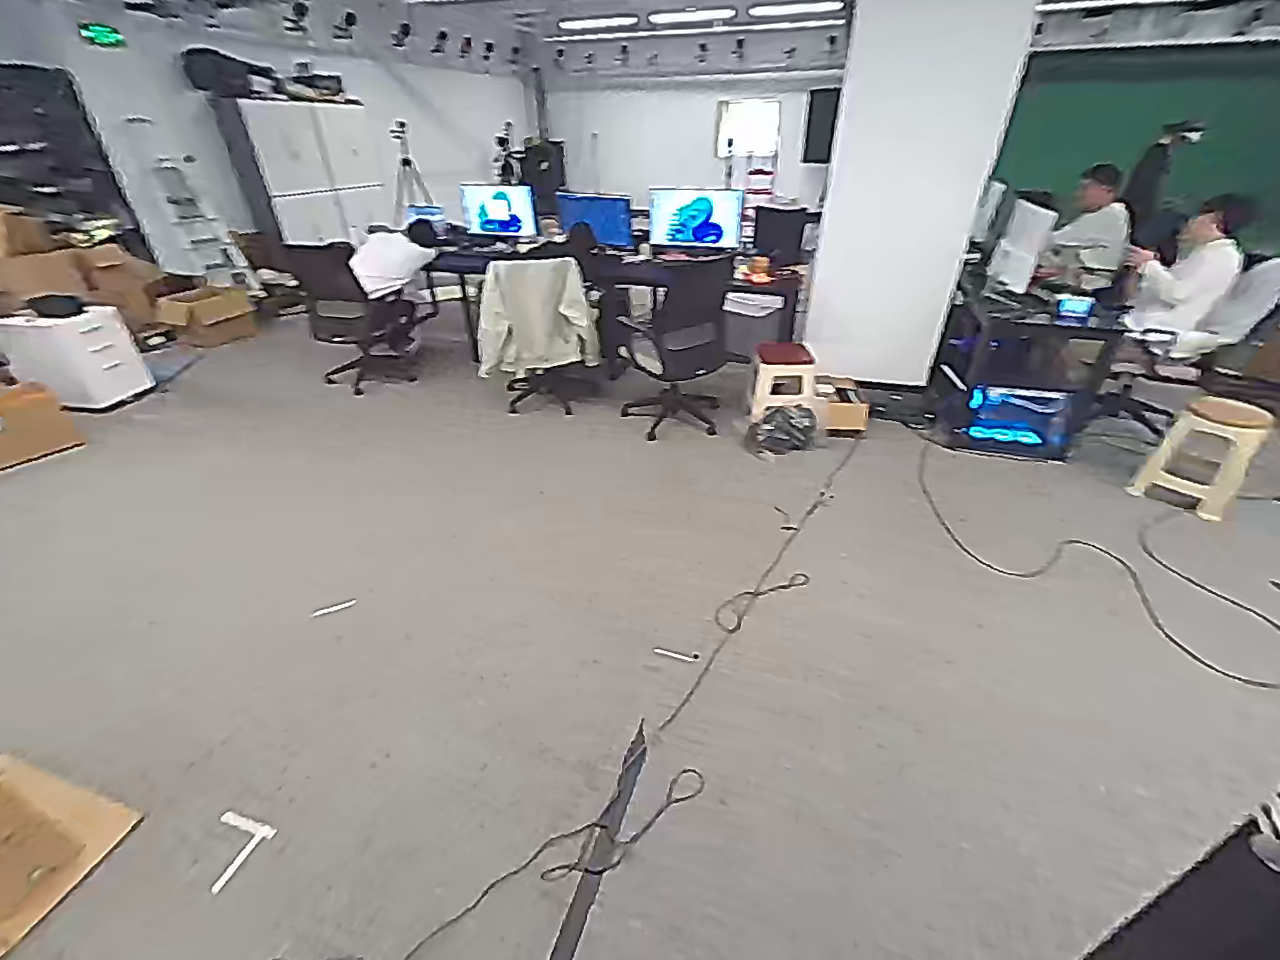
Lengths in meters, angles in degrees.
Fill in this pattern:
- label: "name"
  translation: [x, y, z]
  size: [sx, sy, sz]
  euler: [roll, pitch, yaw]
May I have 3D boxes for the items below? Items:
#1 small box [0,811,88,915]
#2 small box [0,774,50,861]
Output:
- label: "small box"
  translation: [-1.522, 0.908, 1.309]
  size: [0.179, 0.176, 0.168]
  euler: [10, 35, 15]
- label: "small box"
  translation: [-1.523, 0.771, 1.222]
  size: [0.179, 0.176, 0.168]
  euler: [12, 35, 18]
